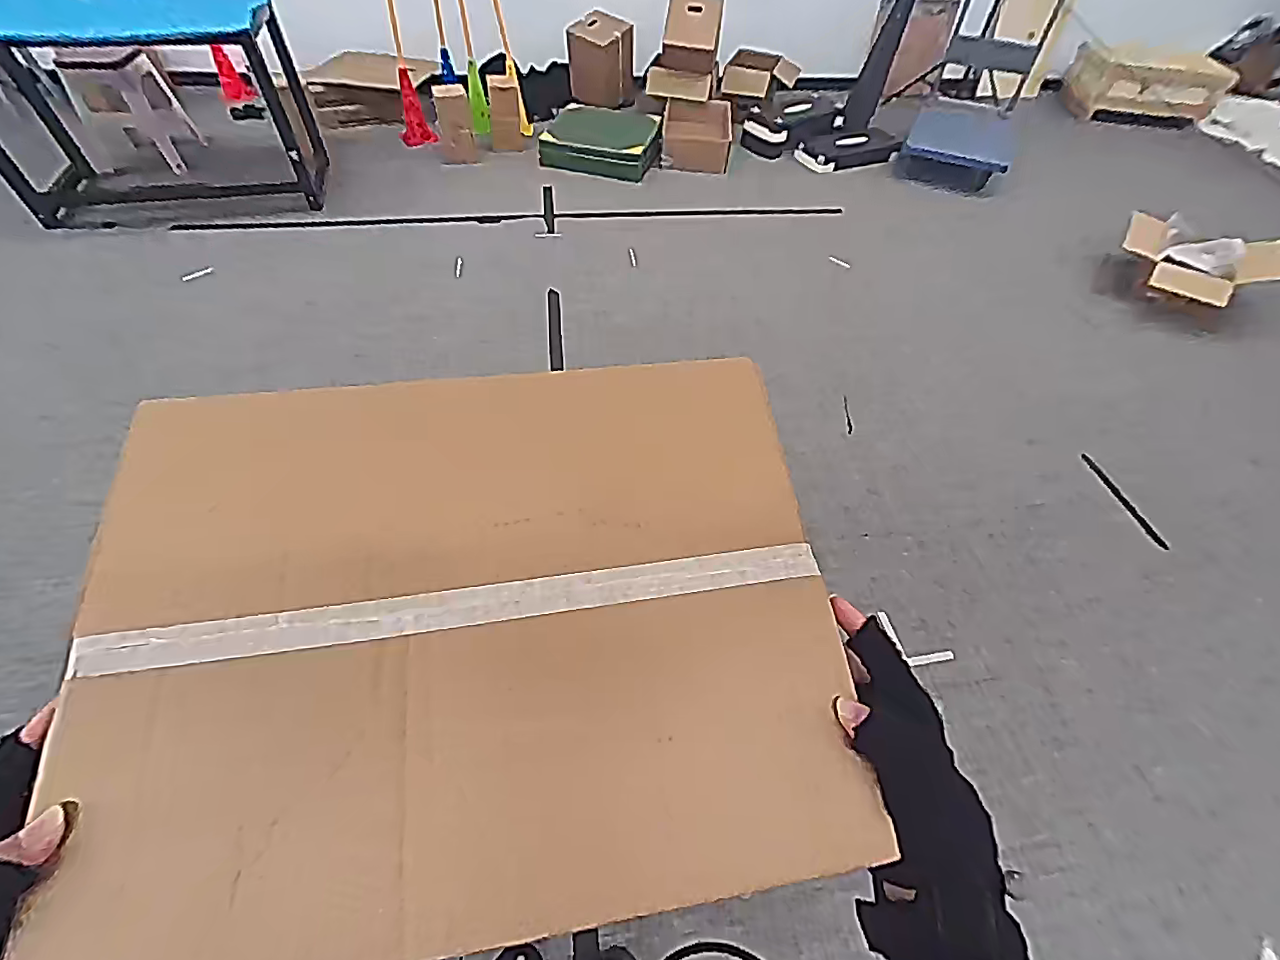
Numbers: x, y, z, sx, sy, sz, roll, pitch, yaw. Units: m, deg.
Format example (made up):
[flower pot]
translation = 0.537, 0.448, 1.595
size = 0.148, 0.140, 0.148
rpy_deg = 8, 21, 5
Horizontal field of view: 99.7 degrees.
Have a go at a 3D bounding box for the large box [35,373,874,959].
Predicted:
[large box]
translation = -0.103, 0.141, 0.450
size = 0.408, 0.320, 0.320
rpy_deg = -6, 66, -8
